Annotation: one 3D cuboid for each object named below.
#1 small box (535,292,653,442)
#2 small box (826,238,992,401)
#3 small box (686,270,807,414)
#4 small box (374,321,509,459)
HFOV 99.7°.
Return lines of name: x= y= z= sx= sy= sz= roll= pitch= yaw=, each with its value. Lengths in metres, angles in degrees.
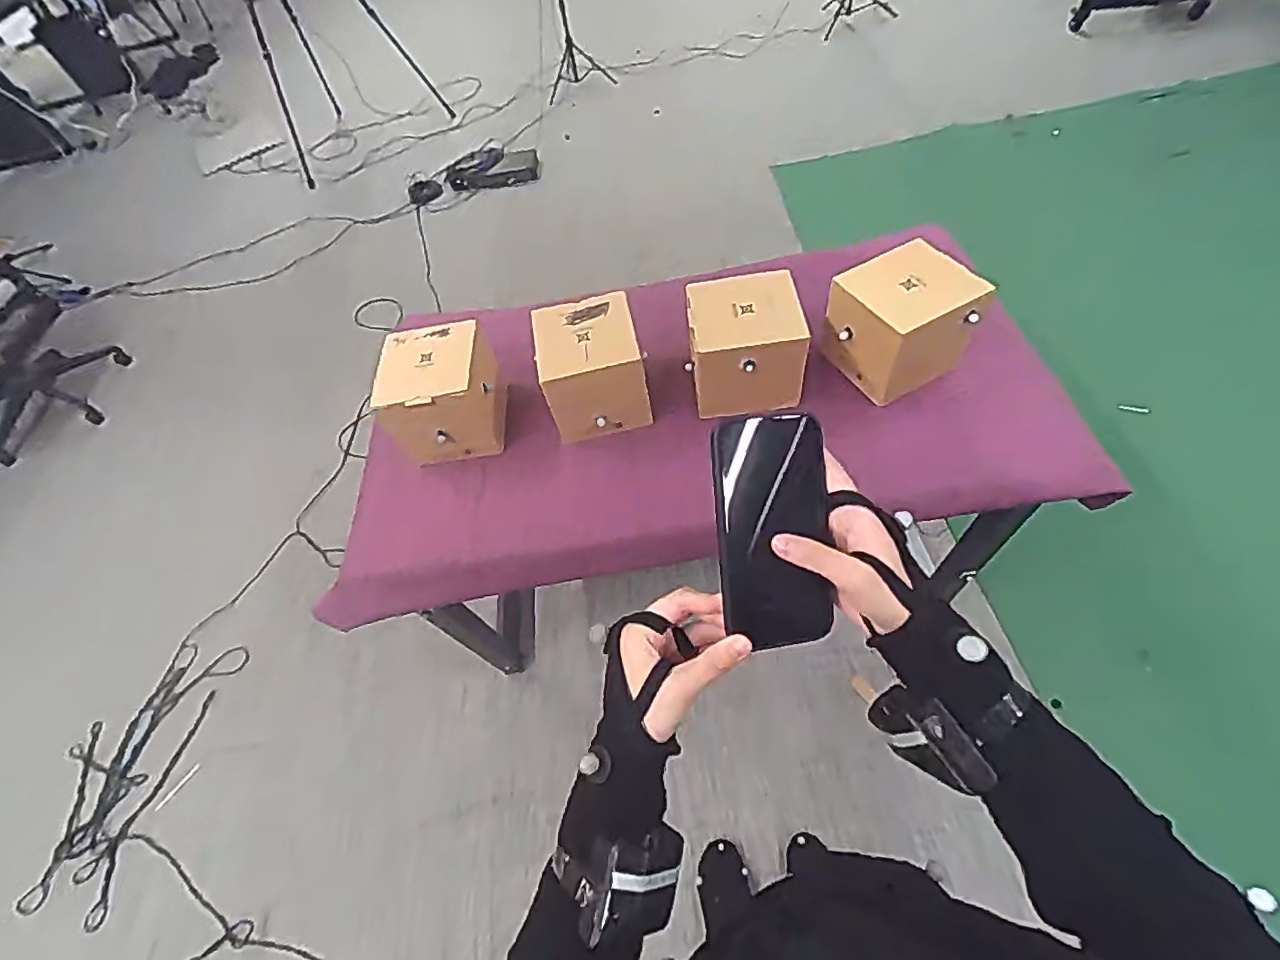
small box: x=-0.079 y=-0.196 z=0.953 sx=0.168 sy=0.176 sz=0.179 roll=-13 pitch=57 yaw=2
small box: x=0.433 y=-0.264 z=0.908 sx=0.179 sy=0.176 sz=0.168 roll=-27 pitch=56 yaw=-8
small box: x=0.178 y=-0.229 z=0.931 sx=0.179 sy=0.176 sz=0.168 roll=-6 pitch=57 yaw=5
small box: x=-0.343 y=-0.152 z=0.971 sx=0.168 sy=0.176 sz=0.179 roll=-8 pitch=57 yaw=4
